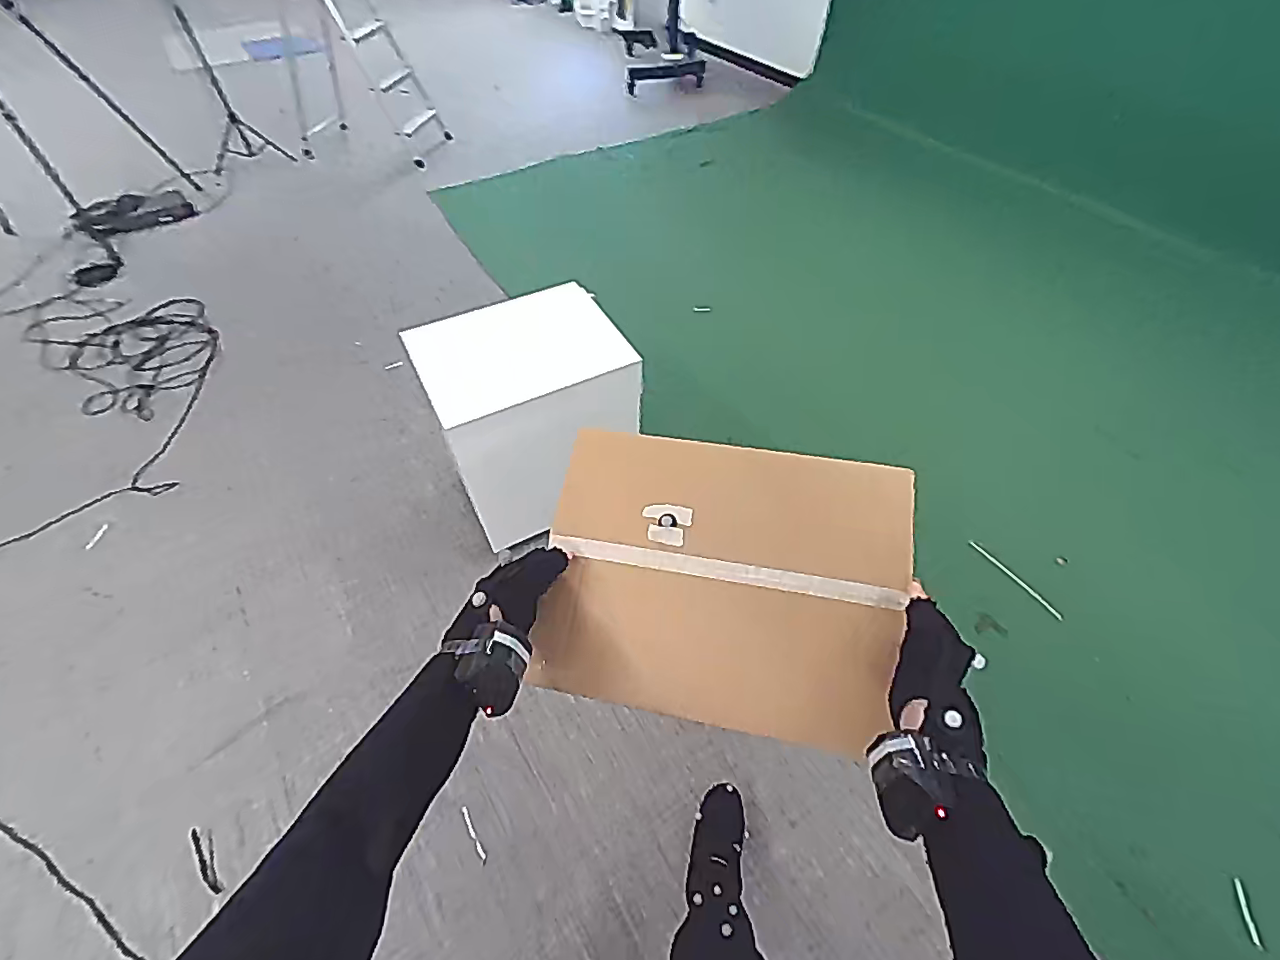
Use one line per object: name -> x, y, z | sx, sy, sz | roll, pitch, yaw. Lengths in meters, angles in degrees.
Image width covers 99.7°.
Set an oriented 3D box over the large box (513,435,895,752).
large box -> 0.100, 0.156, 0.747 | 0.408, 0.320, 0.320 | 7, 69, 12
